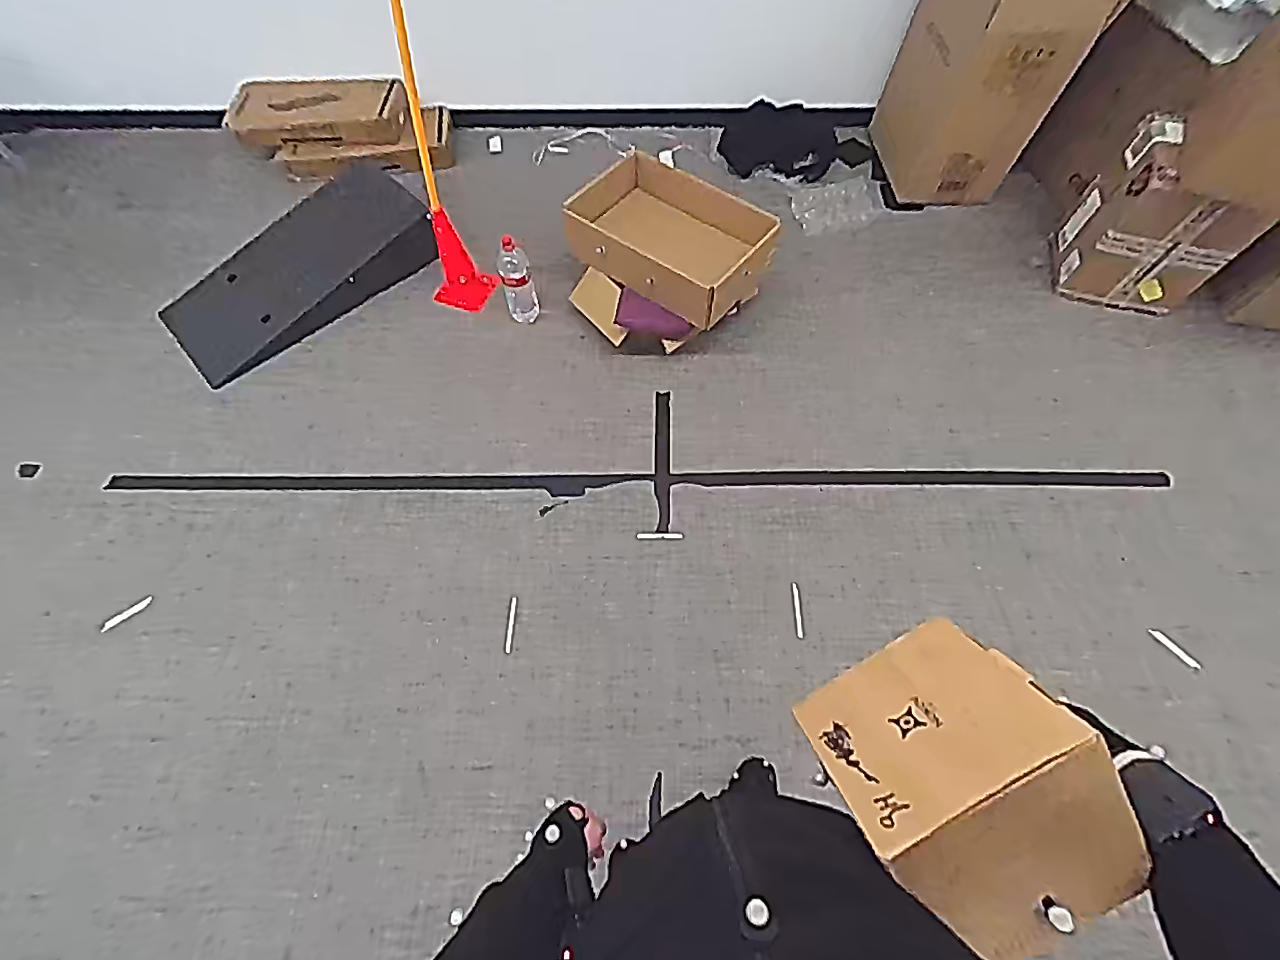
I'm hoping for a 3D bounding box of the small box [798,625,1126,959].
[{"bbox_3d":[0.280,0.274,0.485,0.179,0.168,0.176,-32,105,2],"label":"small box"}]
